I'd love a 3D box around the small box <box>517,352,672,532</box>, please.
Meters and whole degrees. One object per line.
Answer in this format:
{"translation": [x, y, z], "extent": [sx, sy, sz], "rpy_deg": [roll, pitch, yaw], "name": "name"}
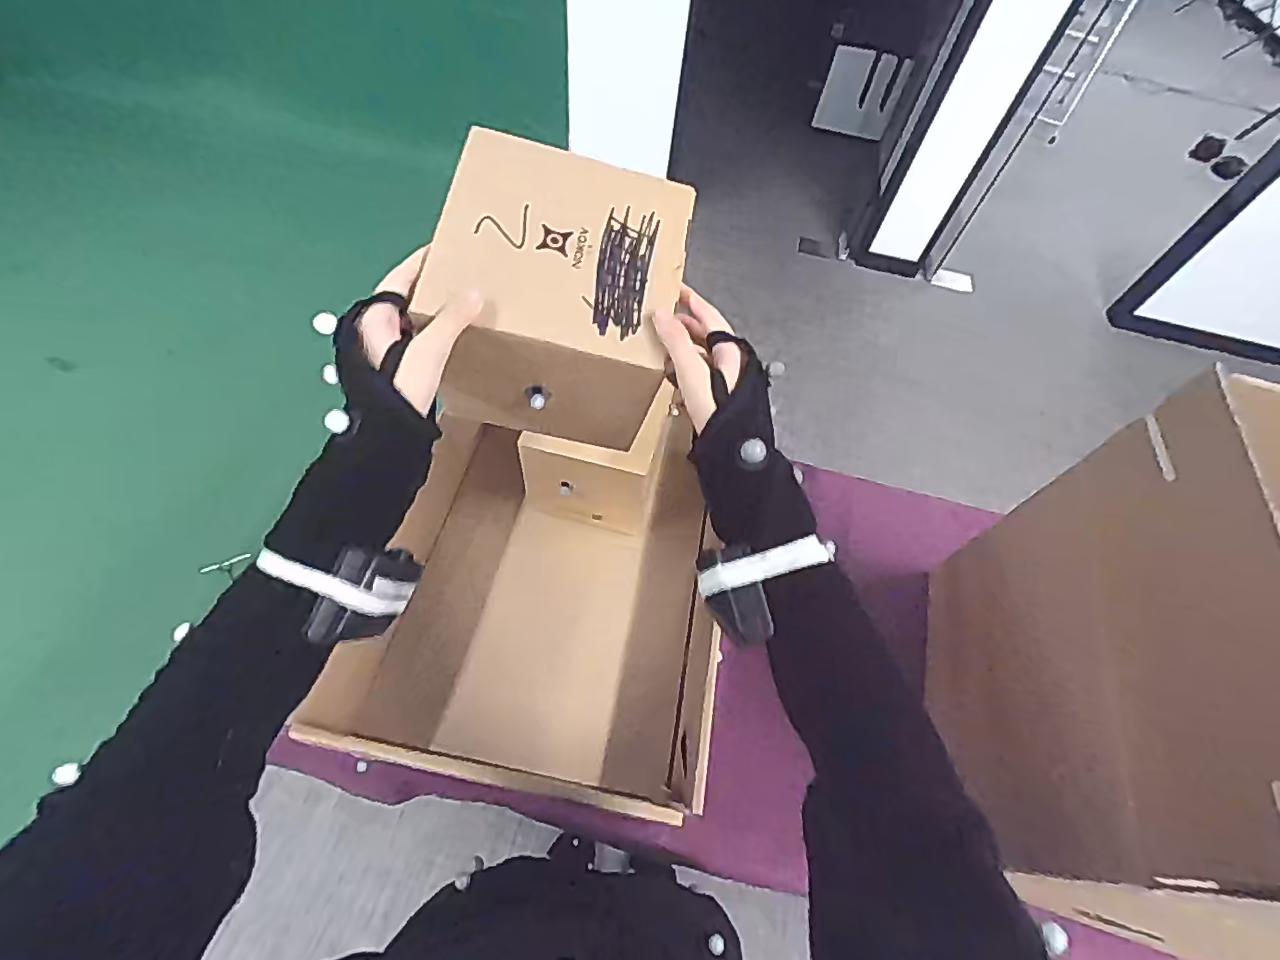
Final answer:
{"translation": [-0.058, -0.048, 0.770], "extent": [0.168, 0.176, 0.179], "rpy_deg": [14, 57, 4], "name": "small box"}
